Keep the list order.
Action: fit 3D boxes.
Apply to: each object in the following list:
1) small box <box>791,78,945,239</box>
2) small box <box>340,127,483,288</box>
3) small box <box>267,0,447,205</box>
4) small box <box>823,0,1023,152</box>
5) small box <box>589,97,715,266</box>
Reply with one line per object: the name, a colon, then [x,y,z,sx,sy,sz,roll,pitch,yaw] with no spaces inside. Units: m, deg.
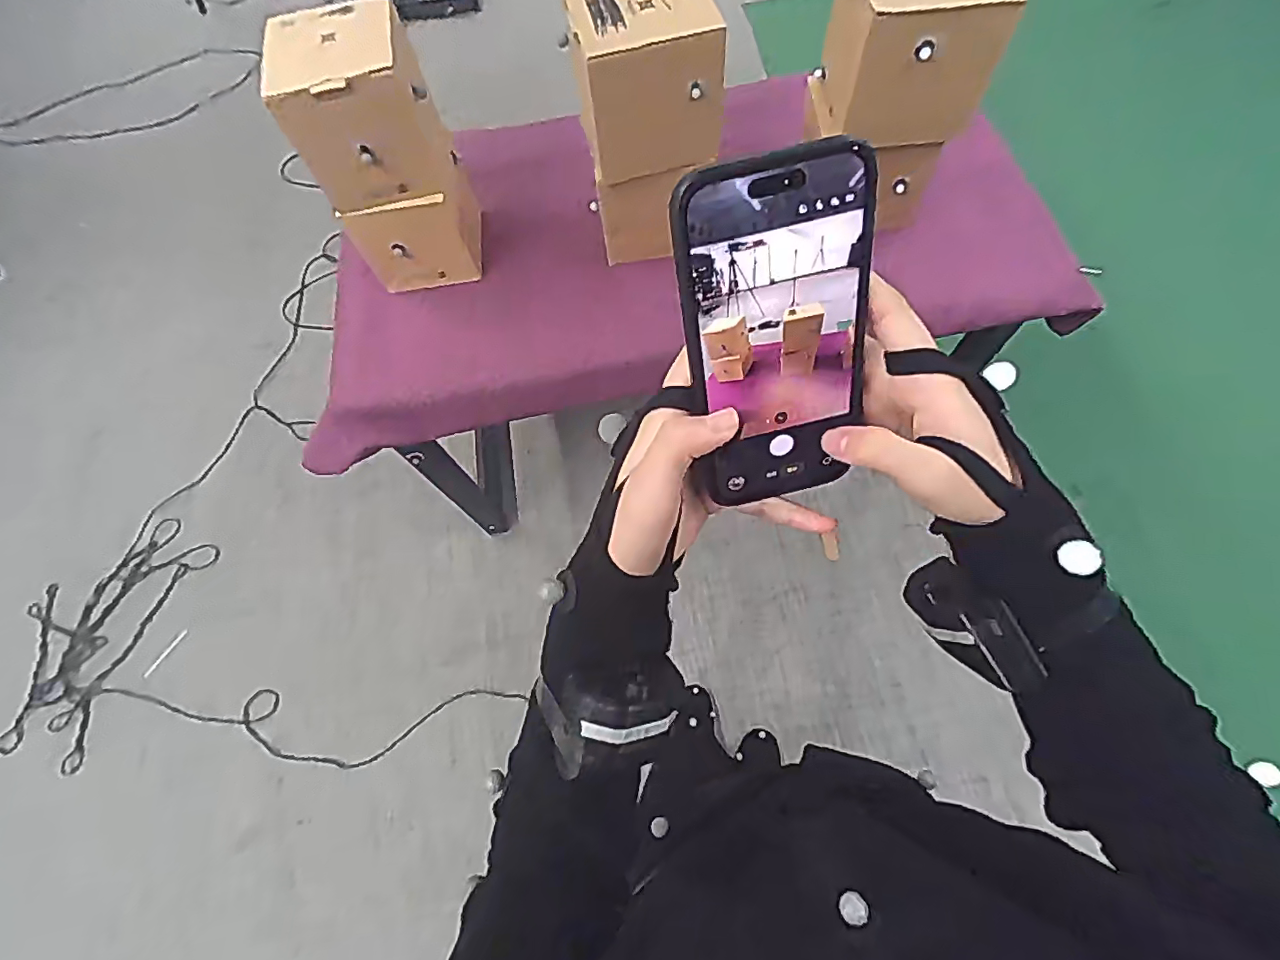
small box: [0.357,-0.520,0.881,0.179,0.176,0.168,-3,66,4]
small box: [-0.370,-0.444,0.907,0.168,0.176,0.179,-8,67,1]
small box: [-0.383,-0.516,0.760,0.168,0.176,0.179,-12,67,-2]
small box: [0.356,-0.571,0.726,0.179,0.176,0.168,-3,67,3]
small box: [0.019,-0.483,0.891,0.179,0.176,0.168,-9,67,1]
